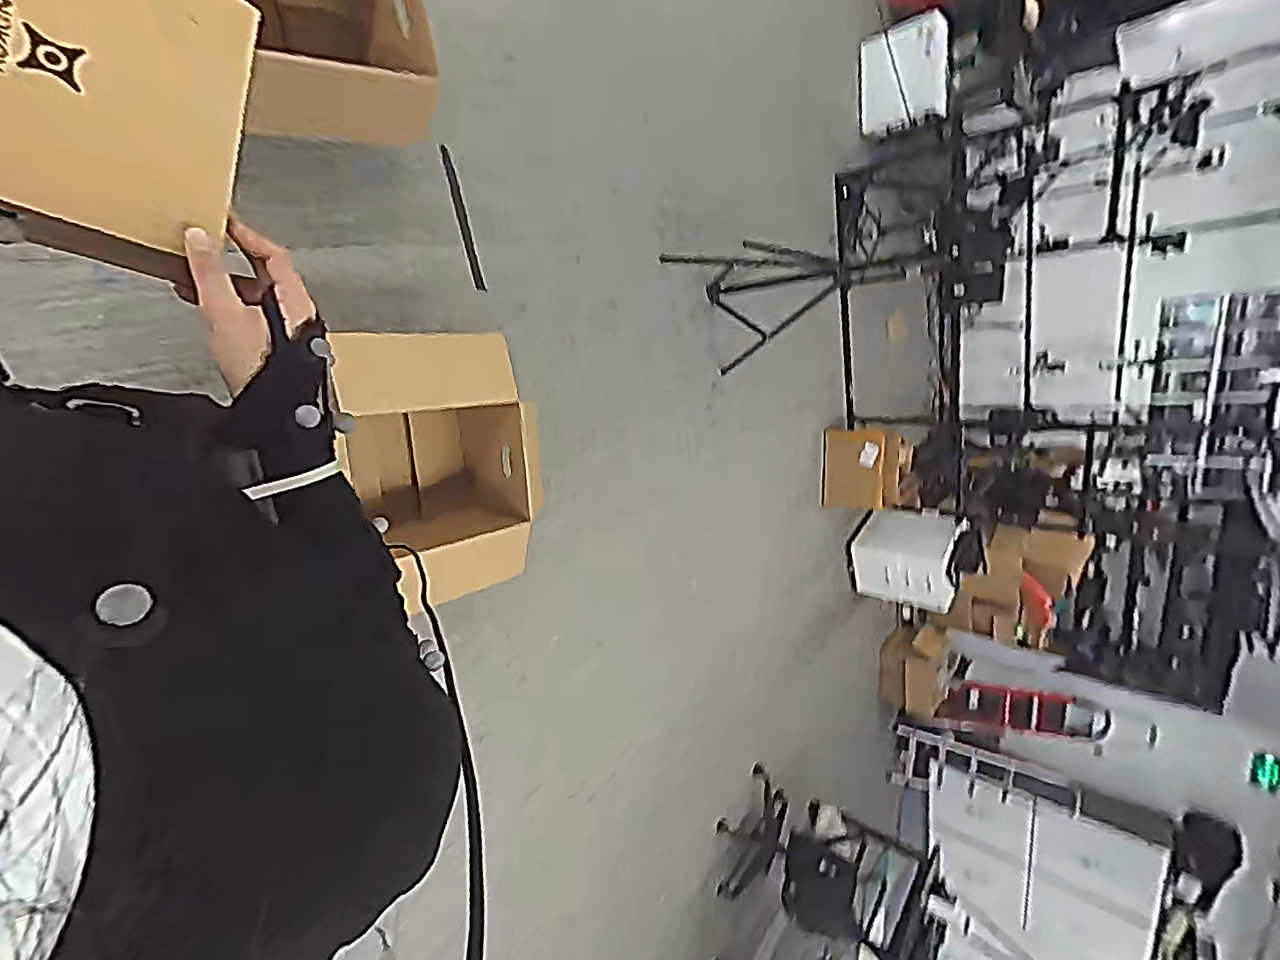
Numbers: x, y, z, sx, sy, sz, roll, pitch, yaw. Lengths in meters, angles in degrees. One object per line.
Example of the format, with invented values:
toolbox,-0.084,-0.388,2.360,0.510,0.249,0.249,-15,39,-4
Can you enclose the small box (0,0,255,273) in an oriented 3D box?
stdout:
small box,-0.372,-0.240,0.337,0.179,0.176,0.168,8,95,-45
